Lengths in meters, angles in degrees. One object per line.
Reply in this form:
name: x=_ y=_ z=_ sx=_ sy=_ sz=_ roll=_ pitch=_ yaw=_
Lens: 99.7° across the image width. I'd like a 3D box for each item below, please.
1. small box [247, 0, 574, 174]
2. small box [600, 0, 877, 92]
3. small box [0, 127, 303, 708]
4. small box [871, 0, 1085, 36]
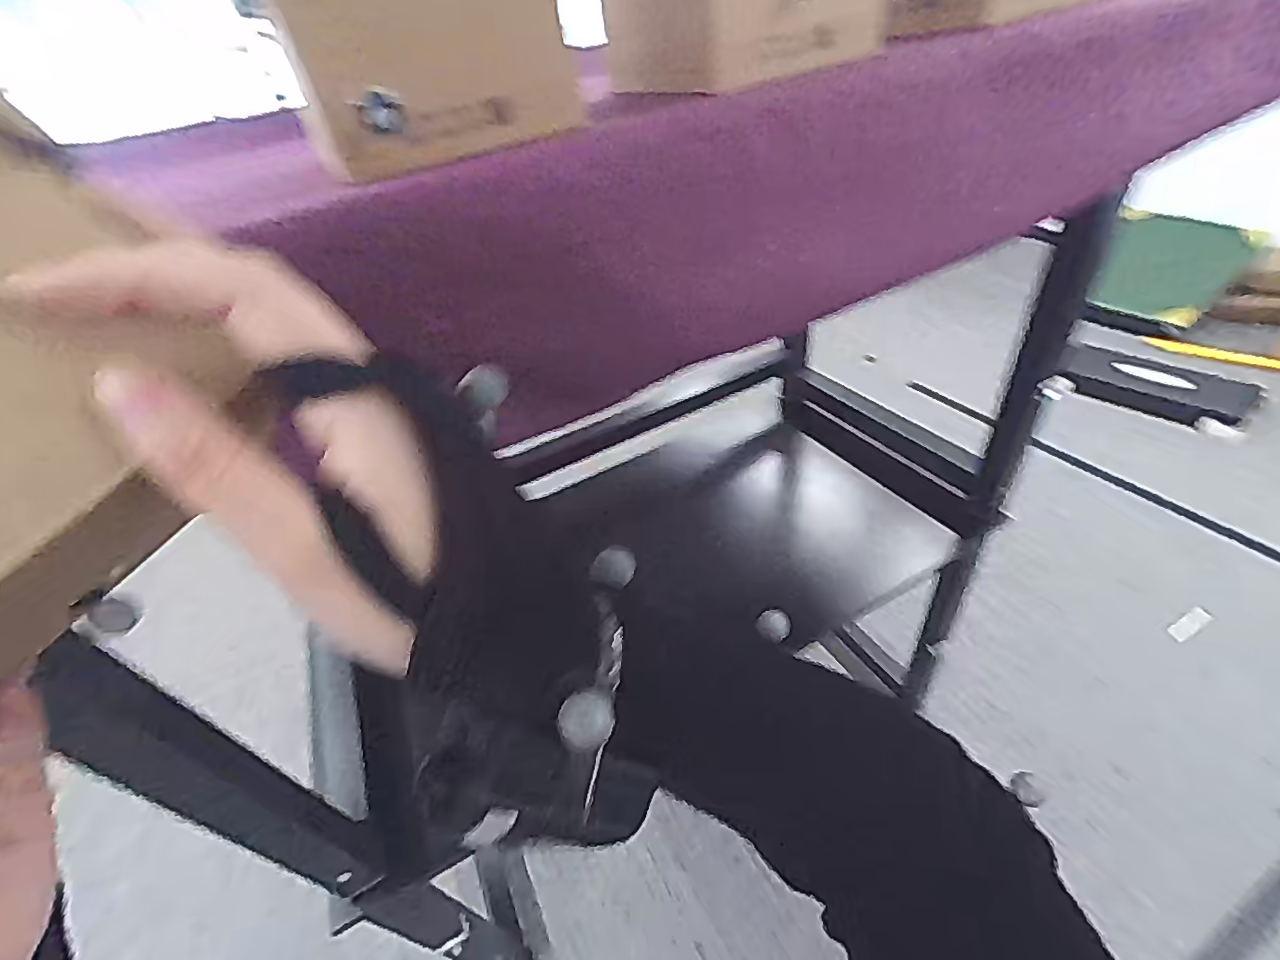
small box: x=-0.161 y=-0.314 z=0.353 sx=0.168 sy=0.176 sz=0.179 roll=-26 pitch=42 yaw=-18
small box: x=0.068 y=-0.418 z=0.422 sx=0.168 sy=0.176 sz=0.179 roll=-26 pitch=42 yaw=-17
small box: x=-0.230 y=-0.006 z=0.134 sx=0.176 sy=0.168 sz=0.179 roll=-11 pitch=40 yaw=52
small box: x=0.320 y=-0.523 z=0.490 sx=0.179 sy=0.176 sz=0.168 roll=-24 pitch=41 yaw=-14
